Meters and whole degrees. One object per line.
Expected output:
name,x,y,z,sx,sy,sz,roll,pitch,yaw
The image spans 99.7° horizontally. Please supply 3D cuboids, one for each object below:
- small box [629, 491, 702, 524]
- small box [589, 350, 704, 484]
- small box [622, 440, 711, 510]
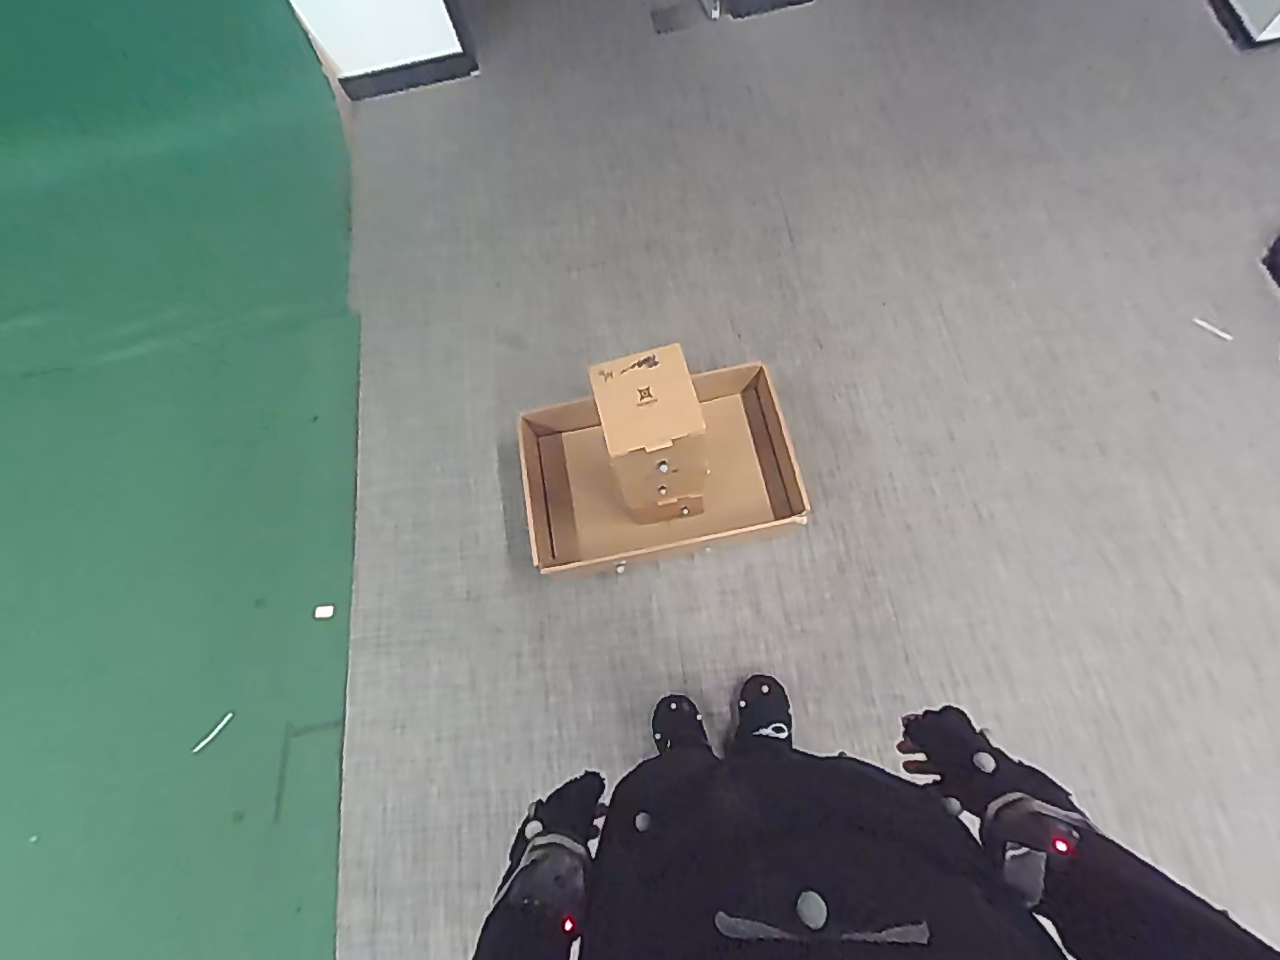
small box,0.054,-0.001,1.291,0.168,0.176,0.179,-11,70,3
small box,0.018,-0.102,0.983,0.168,0.176,0.179,-15,72,2
small box,0.039,-0.050,1.136,0.179,0.176,0.168,-15,71,0
